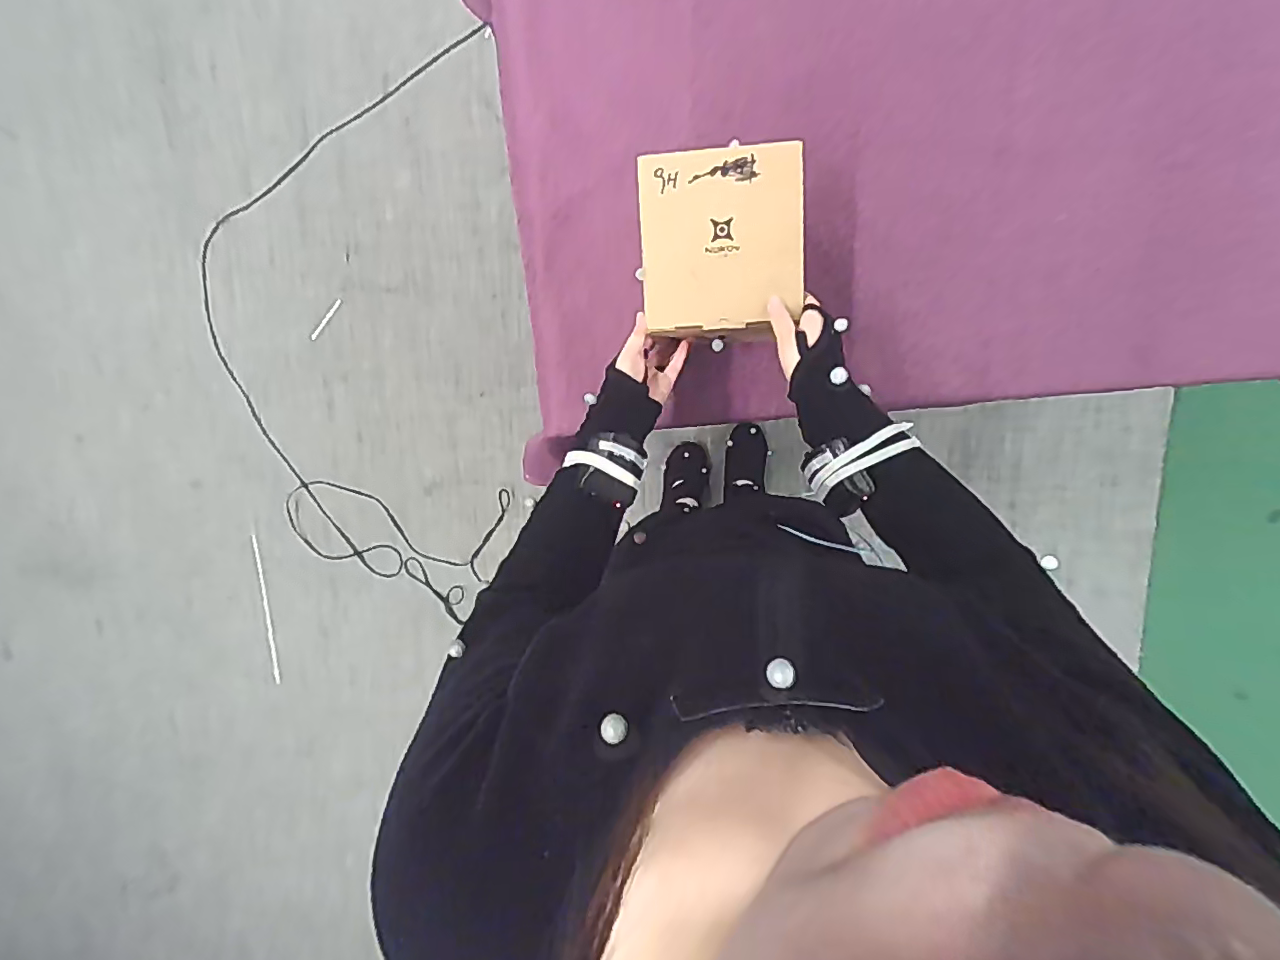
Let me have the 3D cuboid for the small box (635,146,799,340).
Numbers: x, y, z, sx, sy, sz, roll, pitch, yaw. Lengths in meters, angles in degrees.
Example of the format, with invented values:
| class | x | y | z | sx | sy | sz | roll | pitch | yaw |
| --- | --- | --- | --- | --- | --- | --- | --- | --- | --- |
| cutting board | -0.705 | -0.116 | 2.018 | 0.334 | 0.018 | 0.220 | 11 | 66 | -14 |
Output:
| class | x | y | z | sx | sy | sz | roll | pitch | yaw |
| --- | --- | --- | --- | --- | --- | --- | --- | --- | --- |
| small box | 0.084 | -0.257 | 0.631 | 0.168 | 0.176 | 0.179 | -1 | 100 | 4 |
